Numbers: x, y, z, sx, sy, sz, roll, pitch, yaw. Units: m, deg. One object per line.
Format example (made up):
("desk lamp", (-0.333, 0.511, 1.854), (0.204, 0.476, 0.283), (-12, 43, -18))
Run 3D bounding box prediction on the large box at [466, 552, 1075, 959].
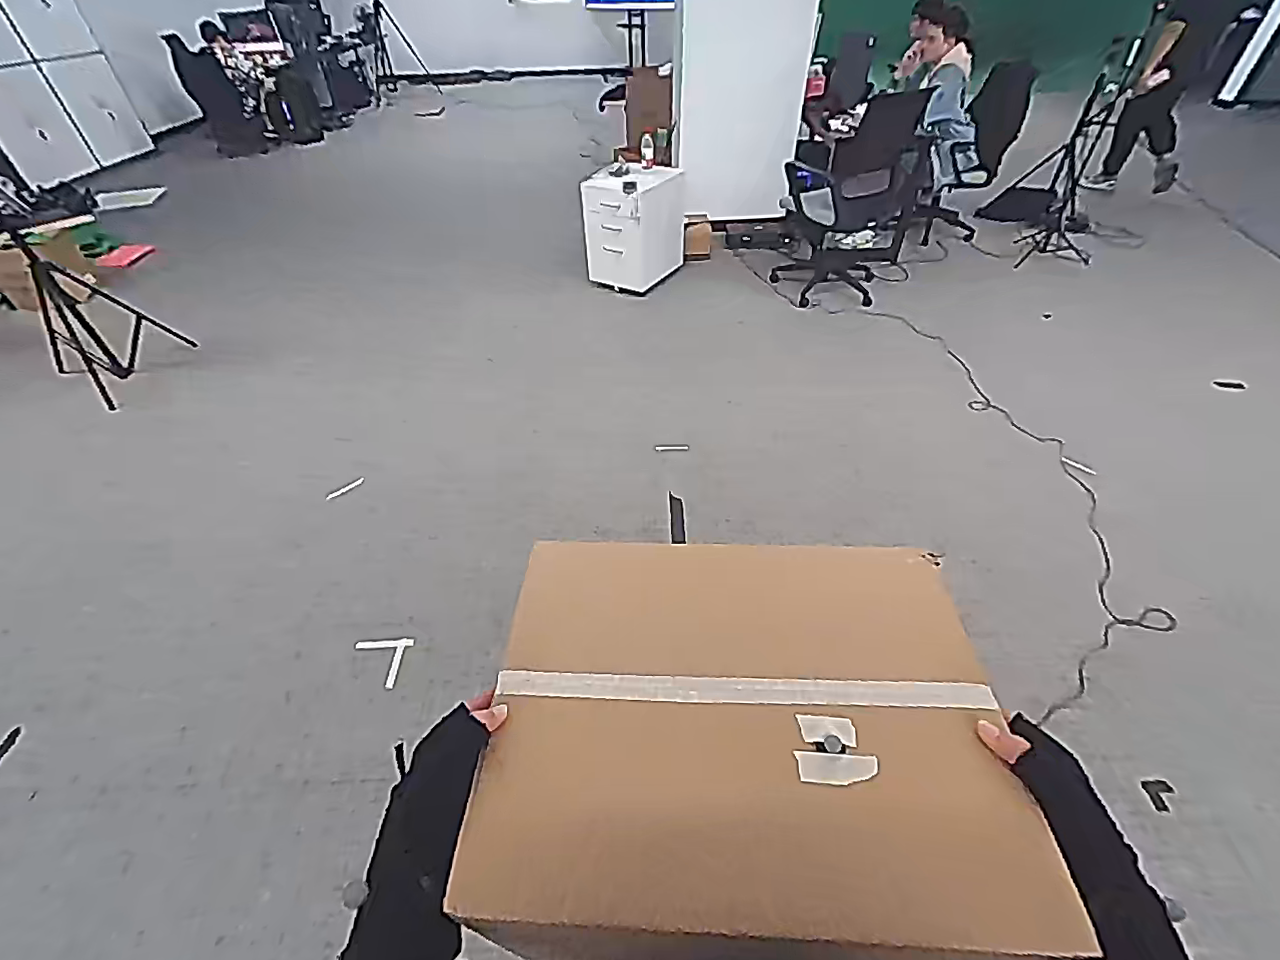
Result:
("large box", (0.089, 0.290, 0.558), (0.408, 0.320, 0.320), (0, 44, 4))
